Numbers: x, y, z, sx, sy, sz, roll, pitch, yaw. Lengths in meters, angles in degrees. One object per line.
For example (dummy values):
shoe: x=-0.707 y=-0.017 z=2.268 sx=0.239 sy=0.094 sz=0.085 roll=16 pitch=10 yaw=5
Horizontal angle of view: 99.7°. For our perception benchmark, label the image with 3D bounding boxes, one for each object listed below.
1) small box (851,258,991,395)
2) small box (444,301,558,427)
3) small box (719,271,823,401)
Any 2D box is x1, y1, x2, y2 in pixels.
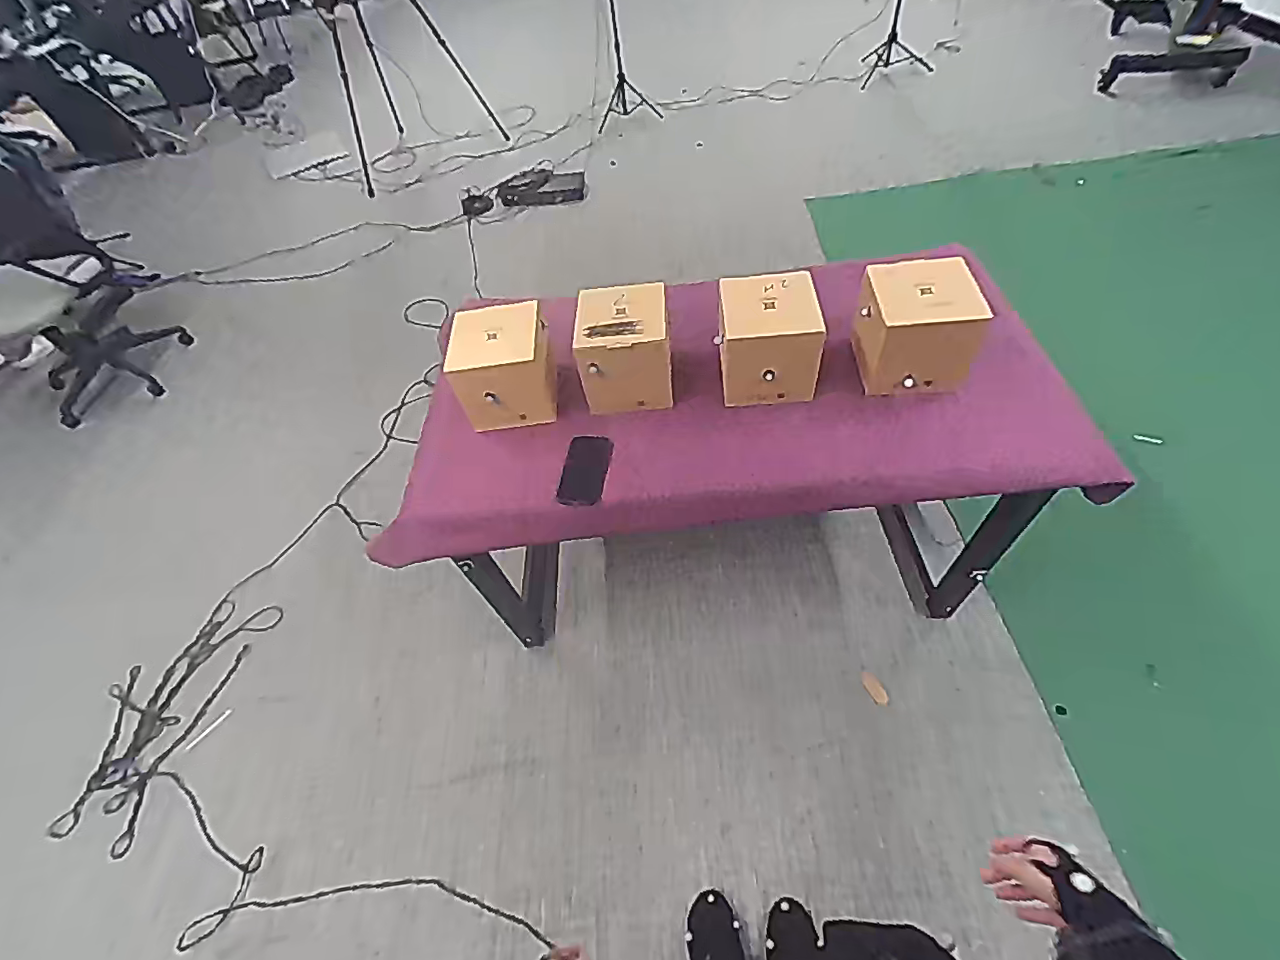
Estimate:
small box: x=0.495 y=-0.276 z=0.985 sx=0.168 sy=0.176 sz=0.179 roll=-2 pitch=53 yaw=8
small box: x=-0.261 y=-0.218 z=1.057 sx=0.168 sy=0.176 sz=0.179 roll=-8 pitch=52 yaw=3
small box: x=0.236 y=-0.261 z=1.012 sx=0.168 sy=0.176 sz=0.179 roll=-3 pitch=53 yaw=6
